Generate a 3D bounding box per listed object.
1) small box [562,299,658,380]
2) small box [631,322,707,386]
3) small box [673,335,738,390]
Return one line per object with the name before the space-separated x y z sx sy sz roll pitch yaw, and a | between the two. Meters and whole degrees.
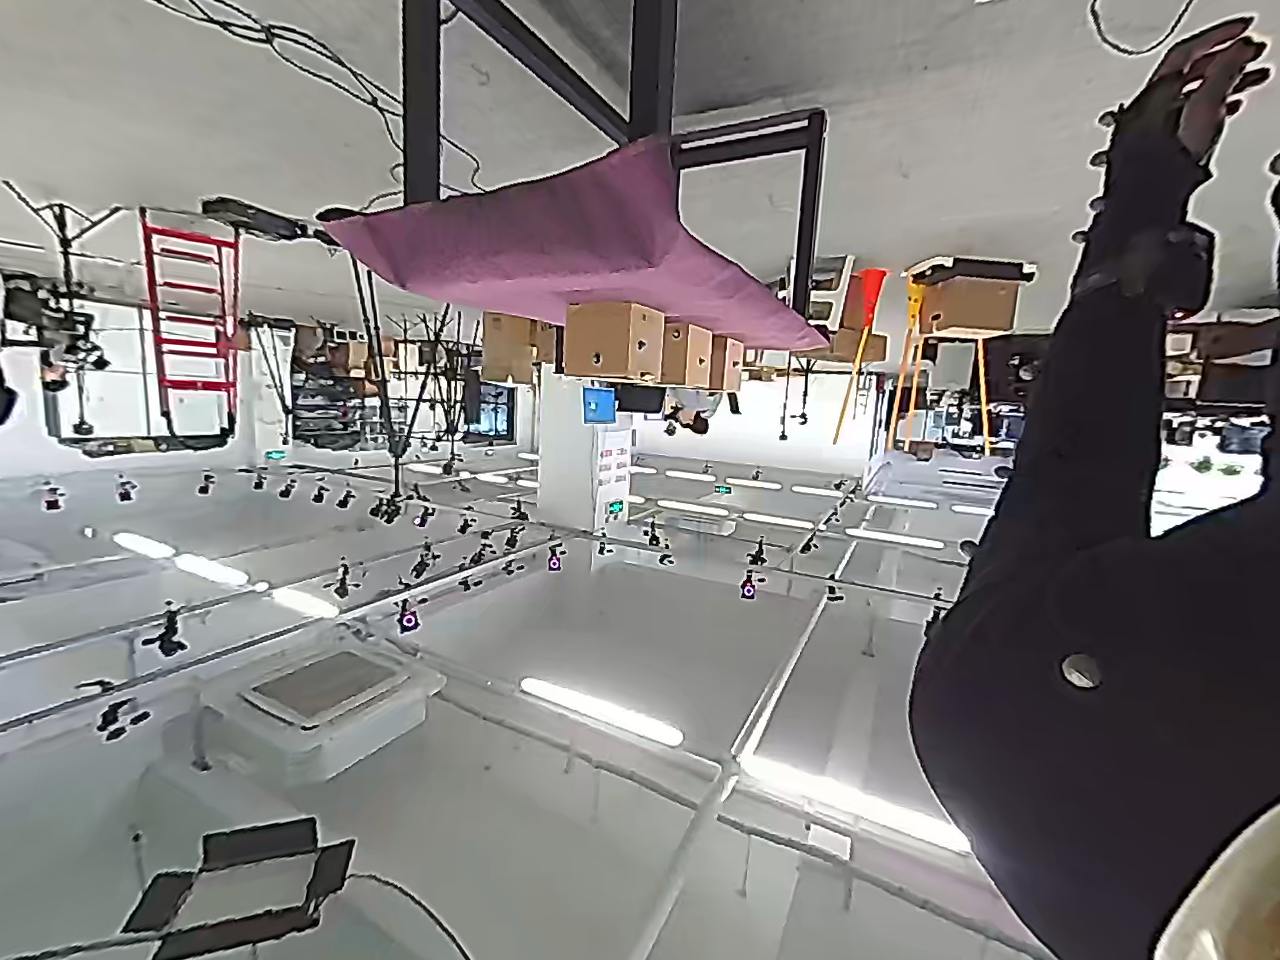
small box | -0.067 -0.326 1.274 0.179 0.176 0.168 8 -170 27
small box | 0.085 -0.360 1.554 0.168 0.176 0.179 8 -169 28
small box | 0.222 -0.390 1.810 0.179 0.176 0.168 7 -171 28
